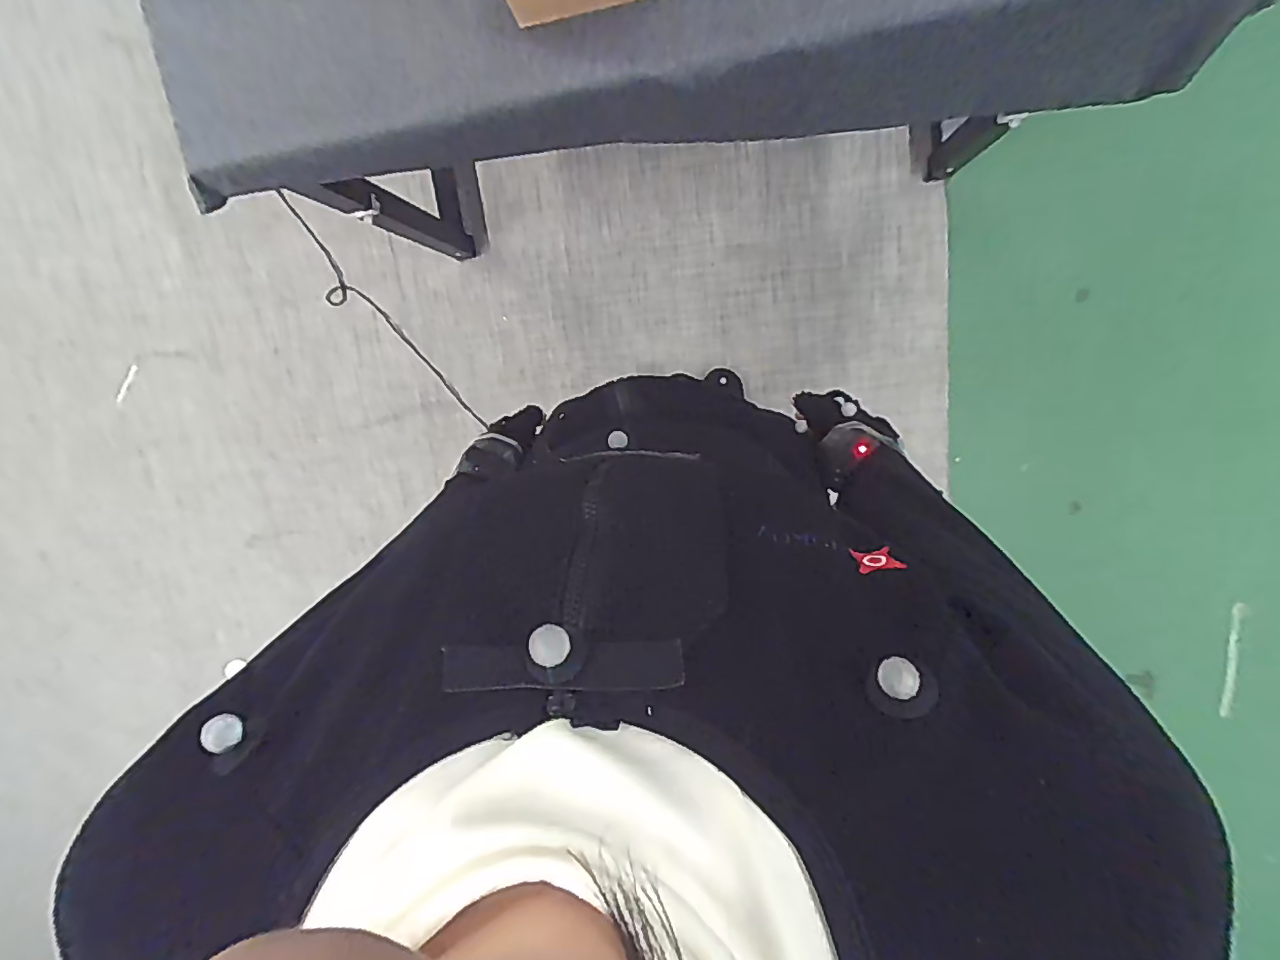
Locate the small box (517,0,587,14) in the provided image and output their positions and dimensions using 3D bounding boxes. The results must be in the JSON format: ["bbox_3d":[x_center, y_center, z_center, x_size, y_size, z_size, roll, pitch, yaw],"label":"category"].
[{"bbox_3d":[-0.067,-0.582,0.493,0.179,0.176,0.168,-6,101,10],"label":"small box"}]
